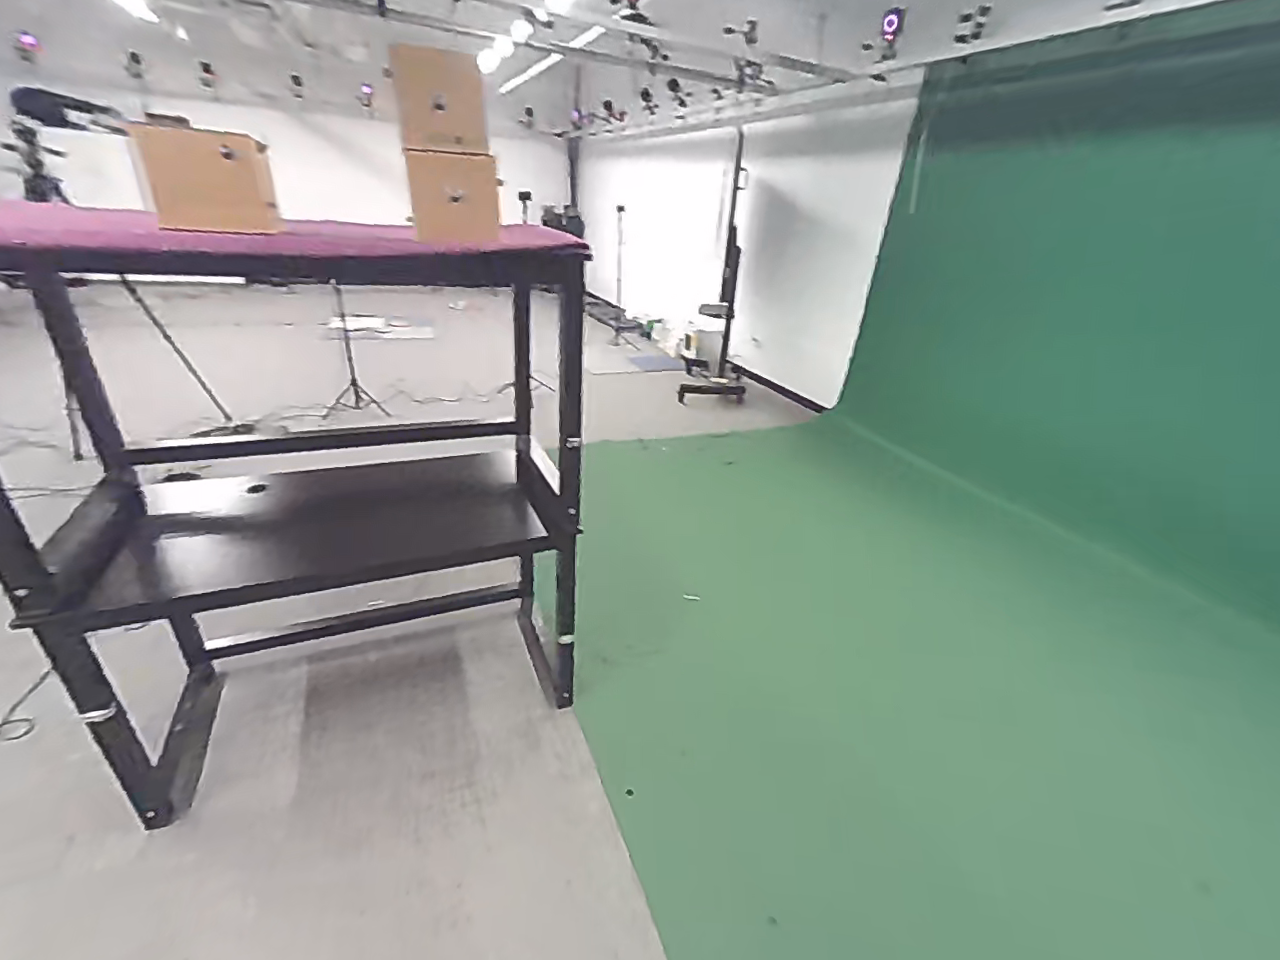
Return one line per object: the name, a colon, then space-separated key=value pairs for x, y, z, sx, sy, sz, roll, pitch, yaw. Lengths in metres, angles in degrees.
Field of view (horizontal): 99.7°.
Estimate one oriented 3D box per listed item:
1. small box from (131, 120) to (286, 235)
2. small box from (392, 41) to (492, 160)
small box: x=-0.806 y=-0.565 z=1.032 sx=0.179 sy=0.176 sz=0.168 roll=-6 pitch=27 yaw=-22
small box: x=-0.397 y=-0.749 z=1.089 sx=0.168 sy=0.176 sz=0.179 roll=-8 pitch=28 yaw=-21
